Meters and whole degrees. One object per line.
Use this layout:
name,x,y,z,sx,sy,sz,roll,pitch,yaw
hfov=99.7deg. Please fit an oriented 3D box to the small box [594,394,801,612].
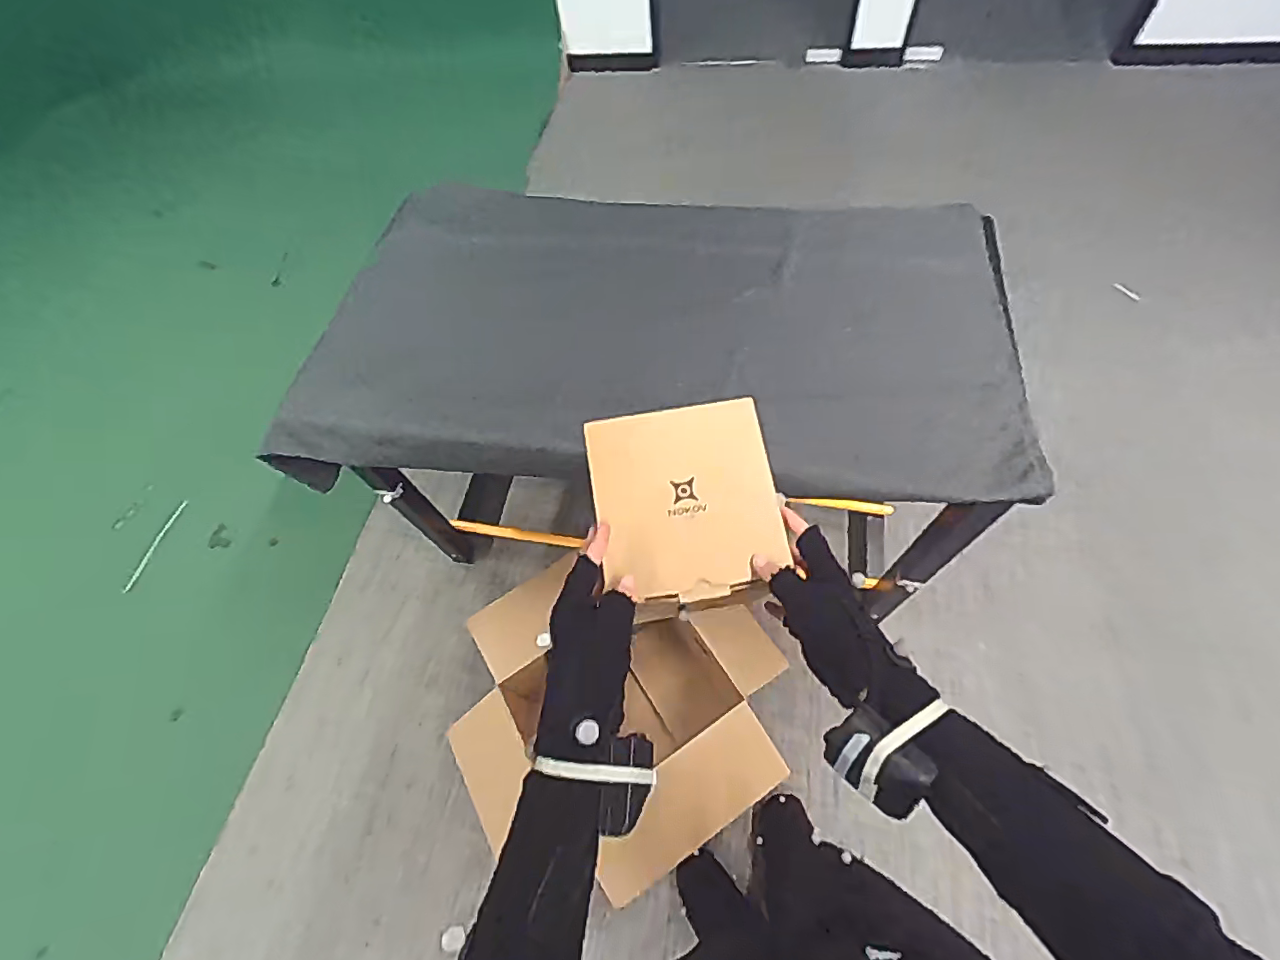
small box,0.049,0.034,0.569,0.168,0.176,0.179,-9,72,-1
